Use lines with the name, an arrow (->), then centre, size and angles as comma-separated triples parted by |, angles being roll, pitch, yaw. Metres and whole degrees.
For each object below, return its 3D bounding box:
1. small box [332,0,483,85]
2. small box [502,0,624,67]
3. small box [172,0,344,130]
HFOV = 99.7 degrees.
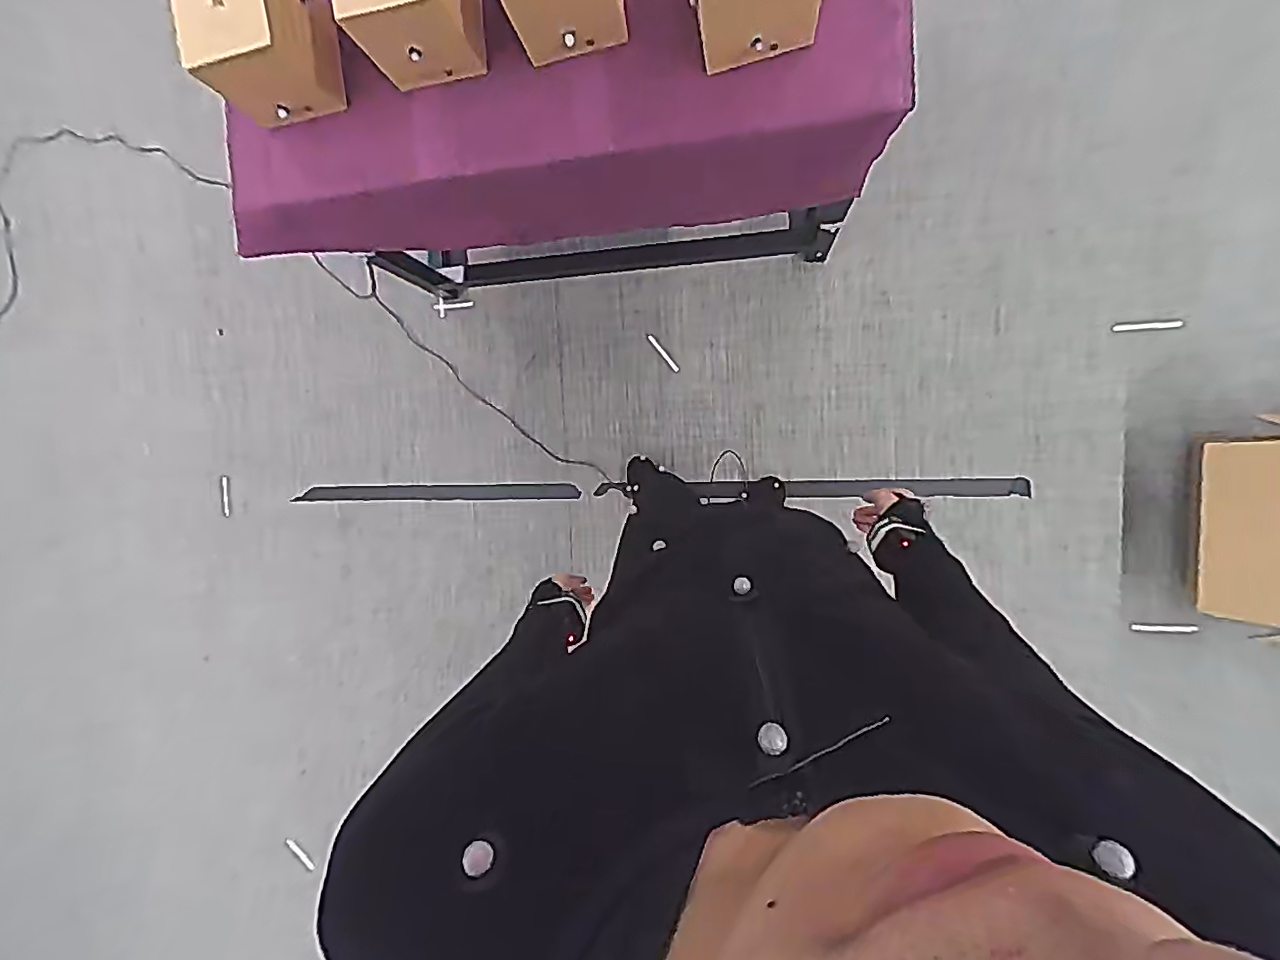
small box -> -0.364, -0.770, 0.861 | 0.168, 0.176, 0.179 | -4, 92, 10
small box -> -0.127, -0.787, 0.819 | 0.168, 0.176, 0.179 | -7, 93, 10
small box -> -0.633, -0.737, 0.909 | 0.168, 0.176, 0.179 | -6, 92, 10
